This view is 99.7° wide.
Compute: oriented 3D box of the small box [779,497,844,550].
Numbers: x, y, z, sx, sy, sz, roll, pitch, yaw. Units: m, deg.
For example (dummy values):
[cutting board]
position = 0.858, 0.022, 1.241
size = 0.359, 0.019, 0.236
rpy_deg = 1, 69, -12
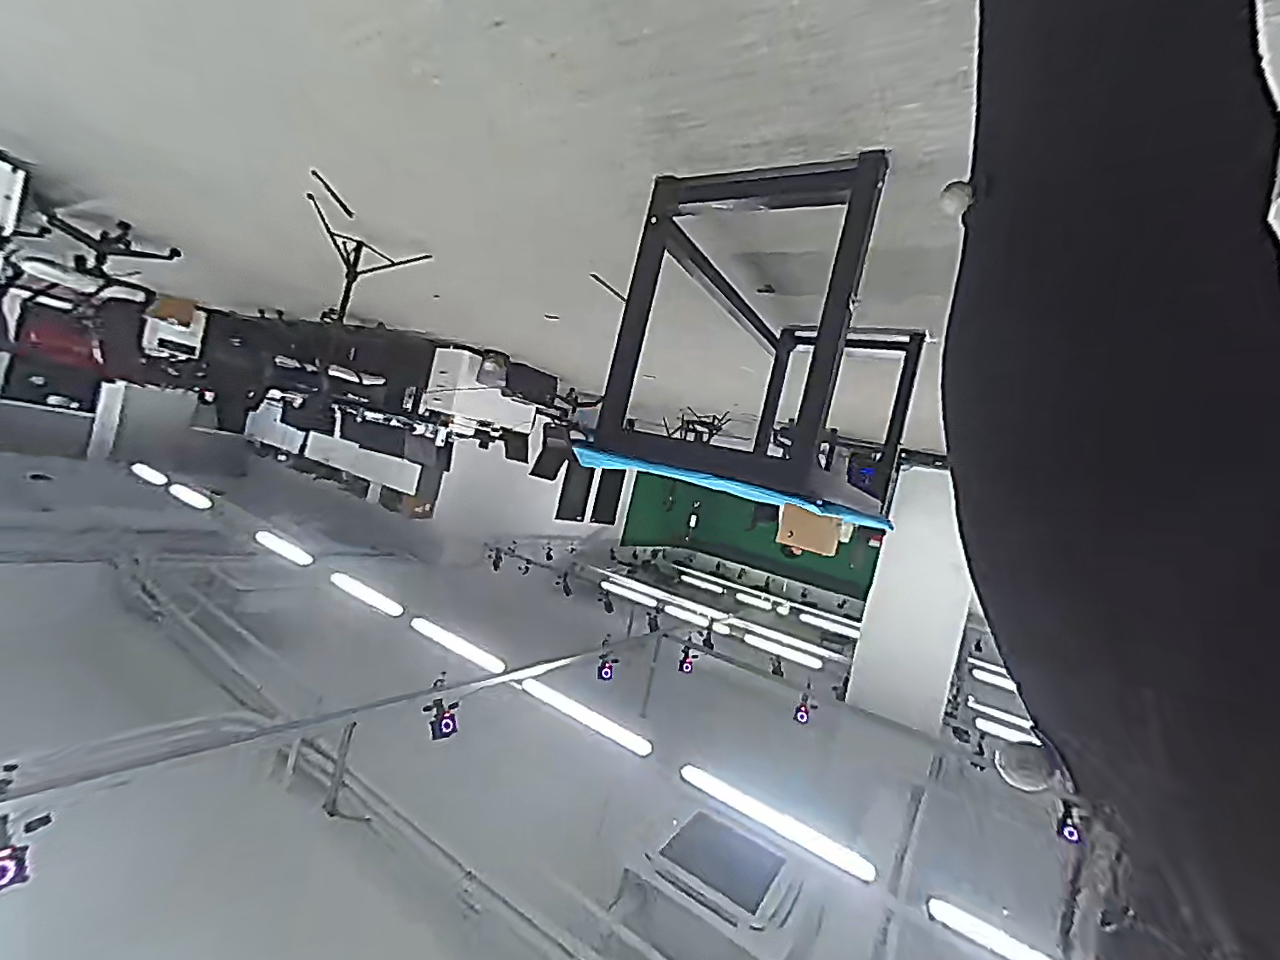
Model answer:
[small box]
position = 0.628, 0.155, 1.972
size = 0.179, 0.176, 0.168
rpy_deg = 11, -179, 30
